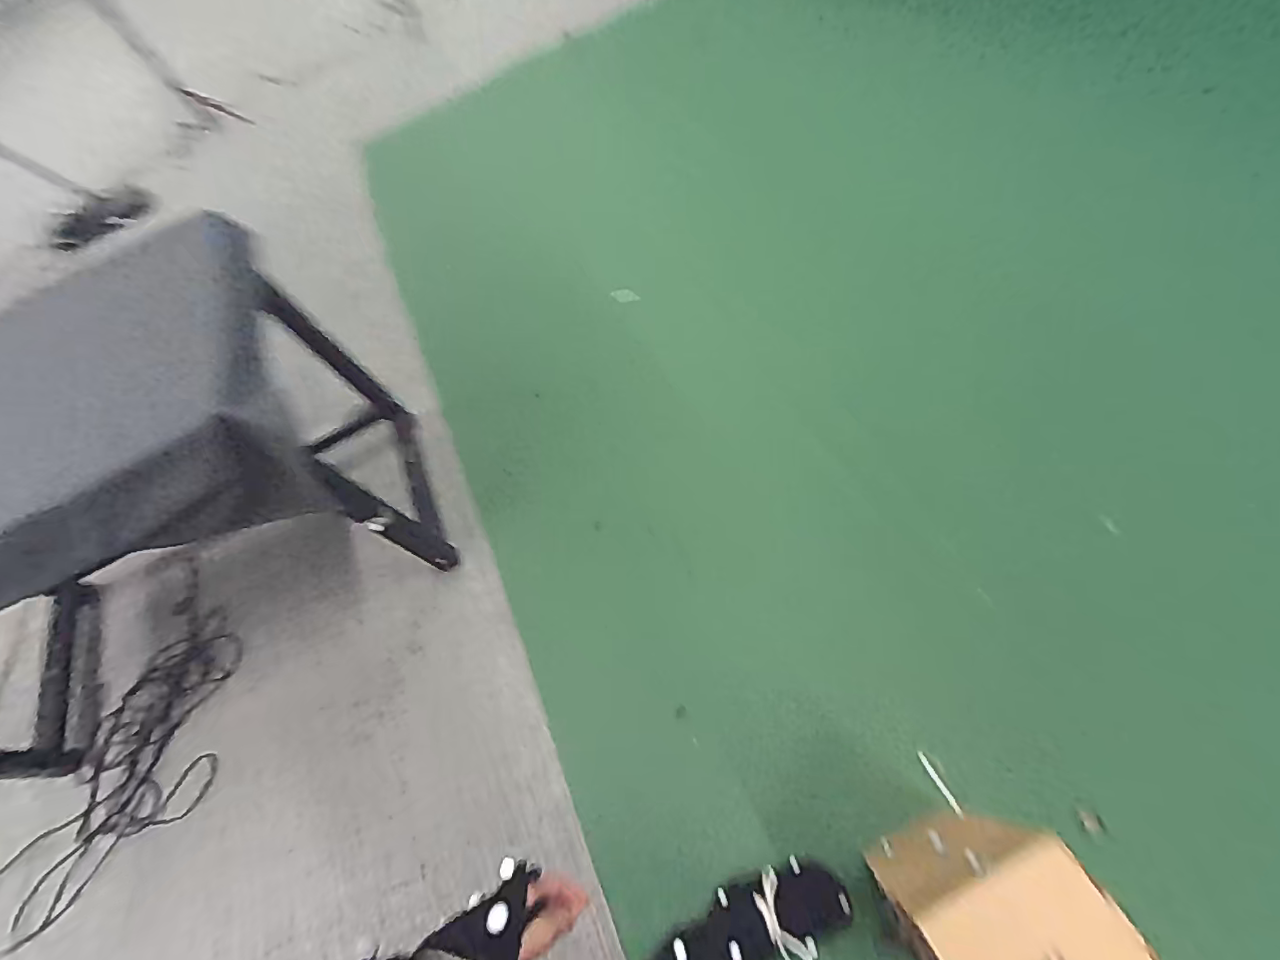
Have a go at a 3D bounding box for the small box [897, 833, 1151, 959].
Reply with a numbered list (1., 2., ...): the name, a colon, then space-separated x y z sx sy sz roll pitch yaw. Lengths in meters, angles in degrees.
1. small box: 0.412 0.512 0.584 0.179 0.176 0.168 -30 58 -2

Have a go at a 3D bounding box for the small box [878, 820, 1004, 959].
1. small box: 0.444 0.587 0.725 0.179 0.176 0.168 -30 59 -3
